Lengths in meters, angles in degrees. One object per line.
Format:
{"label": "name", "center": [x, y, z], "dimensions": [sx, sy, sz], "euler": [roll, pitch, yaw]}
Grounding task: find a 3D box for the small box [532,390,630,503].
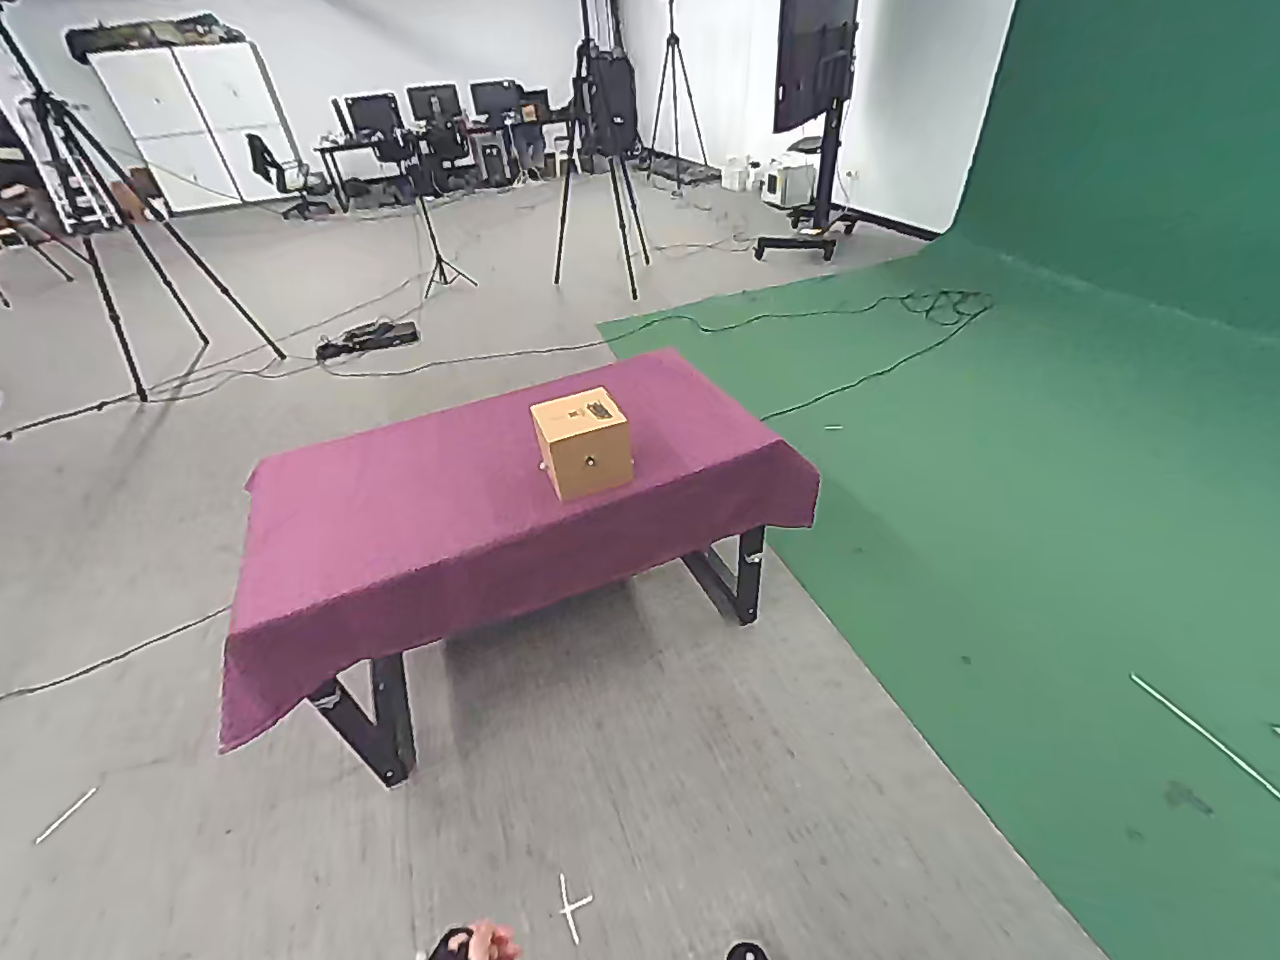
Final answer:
{"label": "small box", "center": [-0.127, -0.075, 1.216], "dimensions": [0.179, 0.176, 0.168], "euler": [-18, 40, -13]}
